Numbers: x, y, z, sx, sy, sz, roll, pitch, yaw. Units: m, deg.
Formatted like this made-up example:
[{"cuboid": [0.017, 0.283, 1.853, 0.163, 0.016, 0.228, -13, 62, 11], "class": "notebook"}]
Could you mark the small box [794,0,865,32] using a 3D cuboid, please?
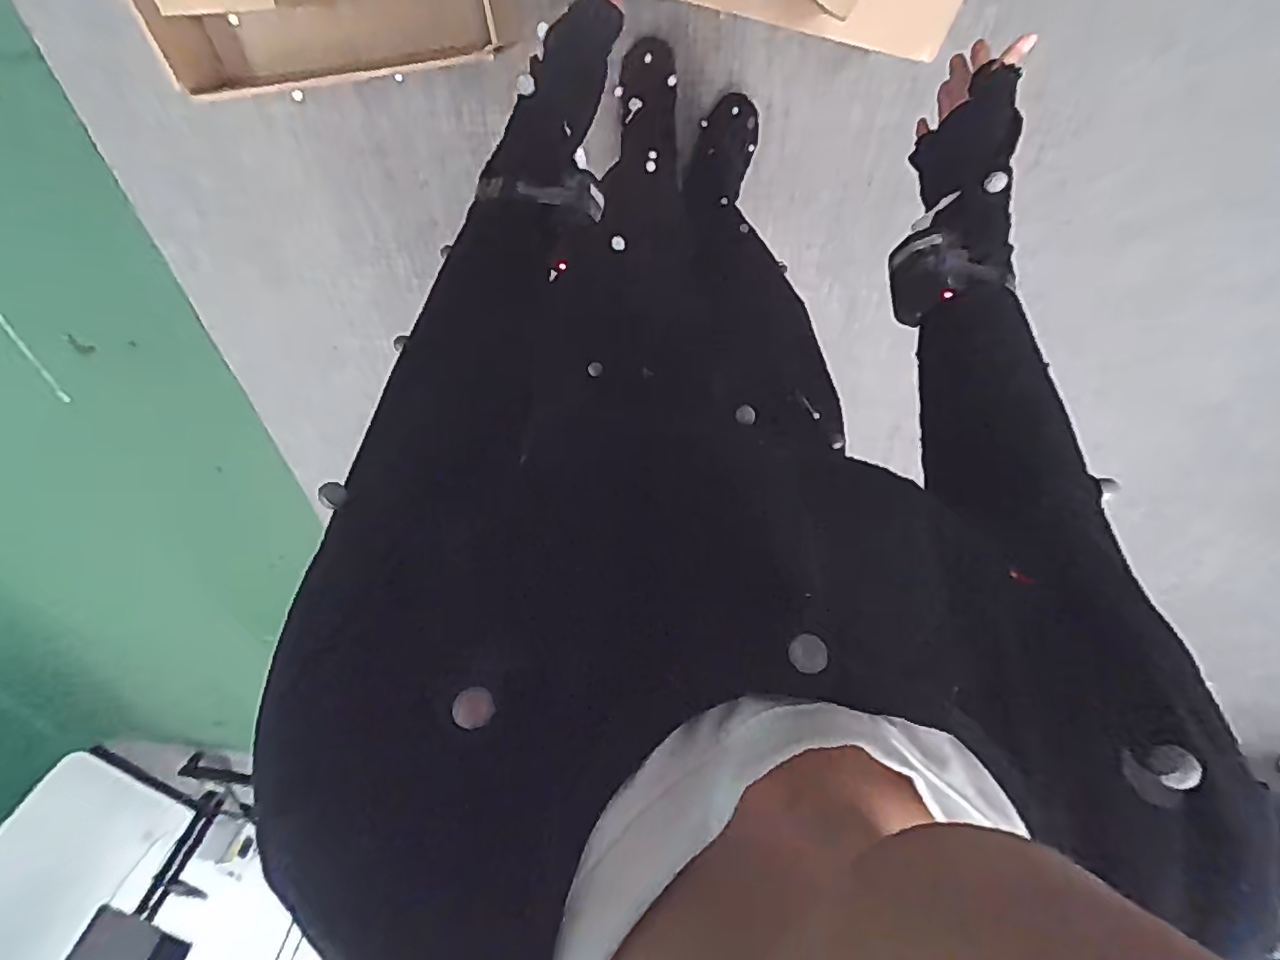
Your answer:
[{"cuboid": [0.202, -0.649, 0.601, 0.179, 0.176, 0.168, 23, 132, -14], "class": "small box"}]
